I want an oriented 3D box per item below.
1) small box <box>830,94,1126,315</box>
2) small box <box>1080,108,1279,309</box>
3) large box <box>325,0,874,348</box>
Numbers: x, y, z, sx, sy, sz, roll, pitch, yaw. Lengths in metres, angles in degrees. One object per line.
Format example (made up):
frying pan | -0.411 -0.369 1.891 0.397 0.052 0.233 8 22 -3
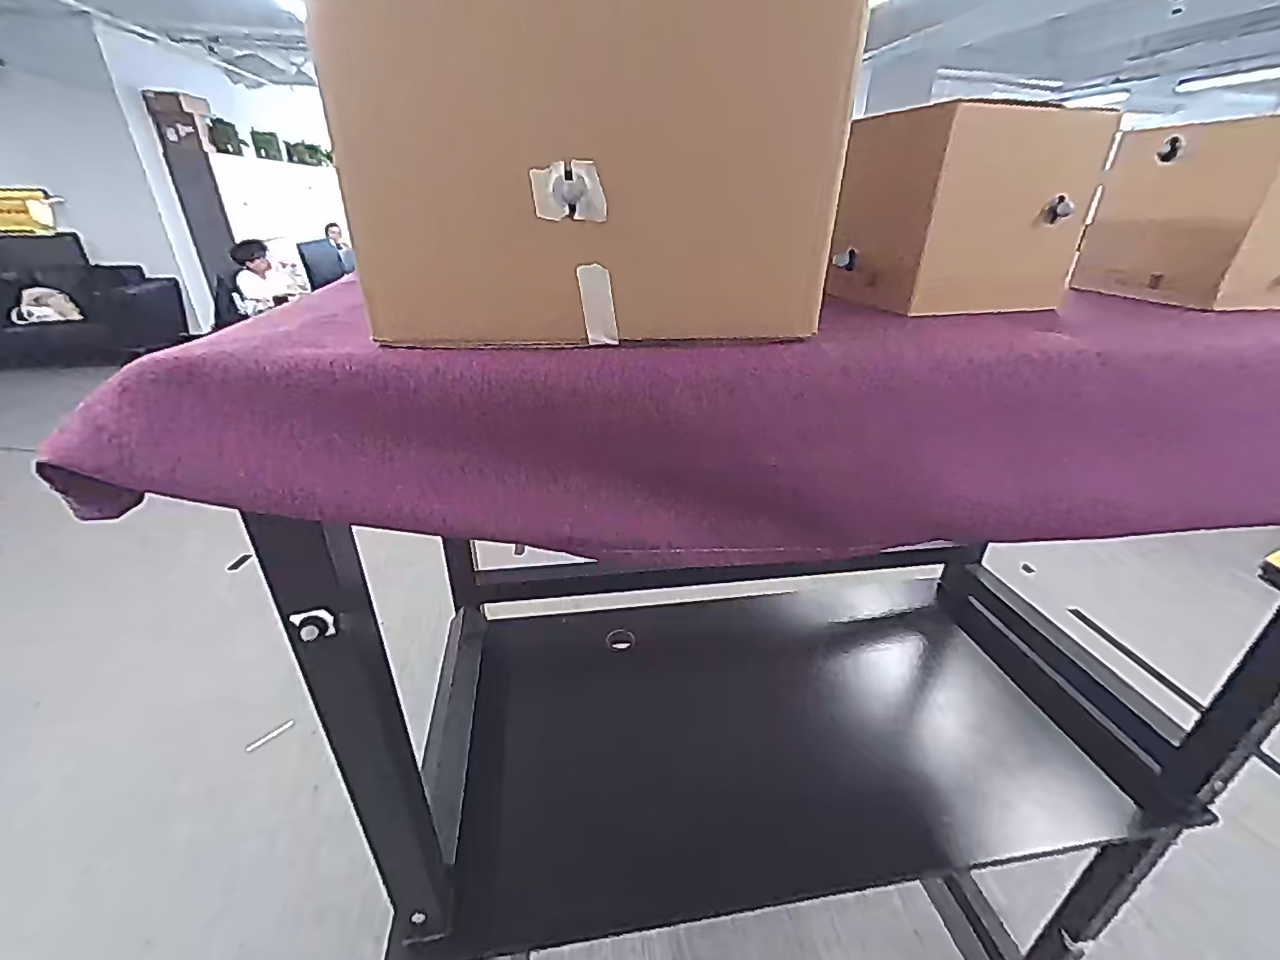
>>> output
small box | 0.307 -0.267 0.540 0.179 0.176 0.168 -7 28 -13
small box | 0.629 -0.281 0.572 0.179 0.176 0.168 -3 27 -8
large box | -0.041 -0.315 0.477 0.320 0.320 0.408 -2 27 -7
